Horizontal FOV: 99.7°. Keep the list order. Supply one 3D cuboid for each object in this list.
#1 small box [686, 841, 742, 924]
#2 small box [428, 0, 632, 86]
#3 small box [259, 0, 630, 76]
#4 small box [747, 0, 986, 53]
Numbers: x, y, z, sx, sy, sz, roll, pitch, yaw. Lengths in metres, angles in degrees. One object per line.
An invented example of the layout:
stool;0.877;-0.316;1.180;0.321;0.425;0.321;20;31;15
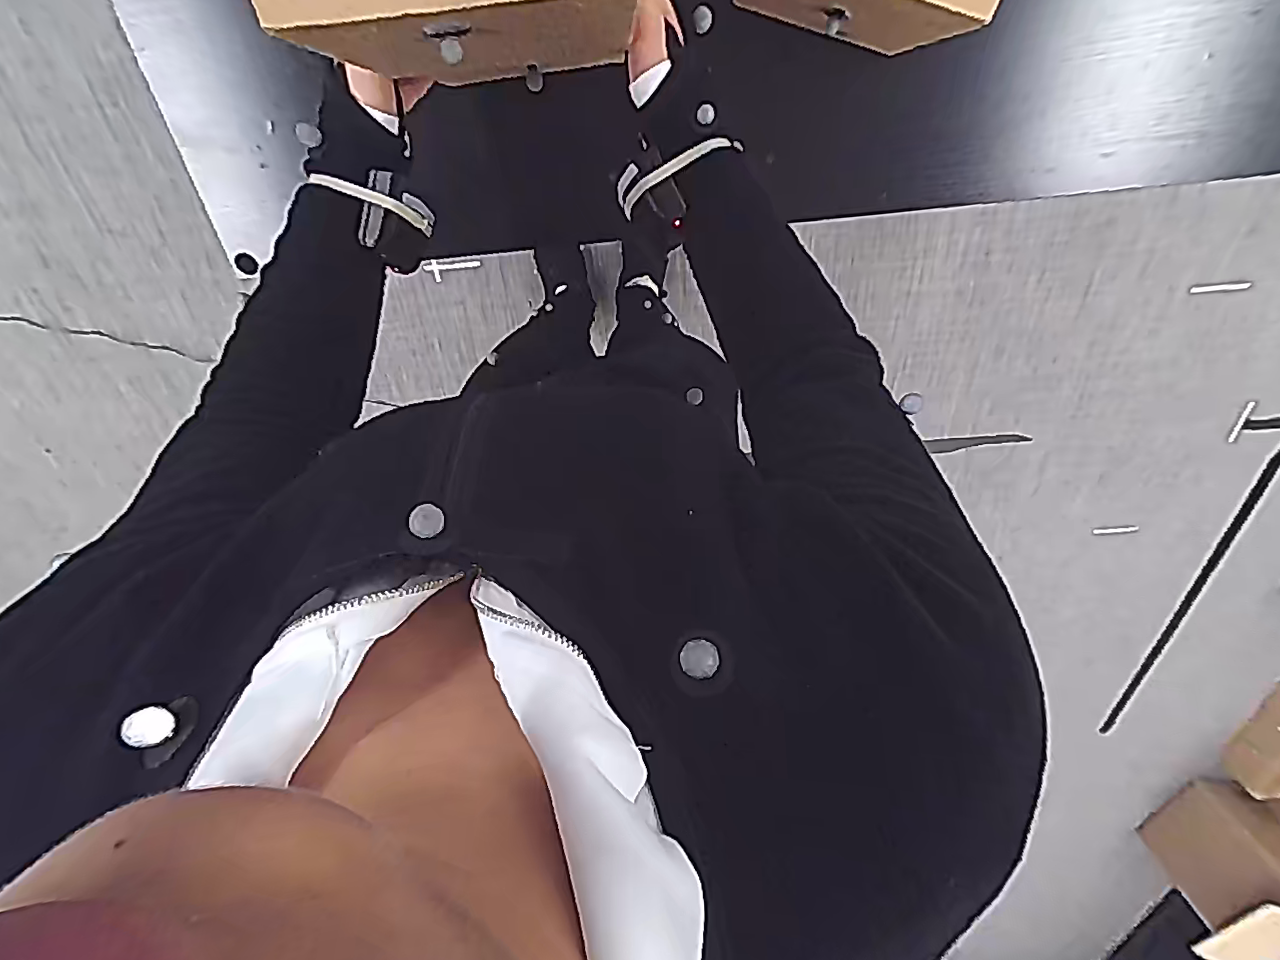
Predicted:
small box;0.252;1.382;1.858;0.168;0.176;0.179;-7;118;-1
small box;-0.106;-0.421;0.417;0.179;0.176;0.168;-7;120;0
small box;-0.097;-0.327;0.281;0.179;0.176;0.168;-6;121;0
small box;0.186;-0.461;0.414;0.168;0.176;0.179;10;120;-9
